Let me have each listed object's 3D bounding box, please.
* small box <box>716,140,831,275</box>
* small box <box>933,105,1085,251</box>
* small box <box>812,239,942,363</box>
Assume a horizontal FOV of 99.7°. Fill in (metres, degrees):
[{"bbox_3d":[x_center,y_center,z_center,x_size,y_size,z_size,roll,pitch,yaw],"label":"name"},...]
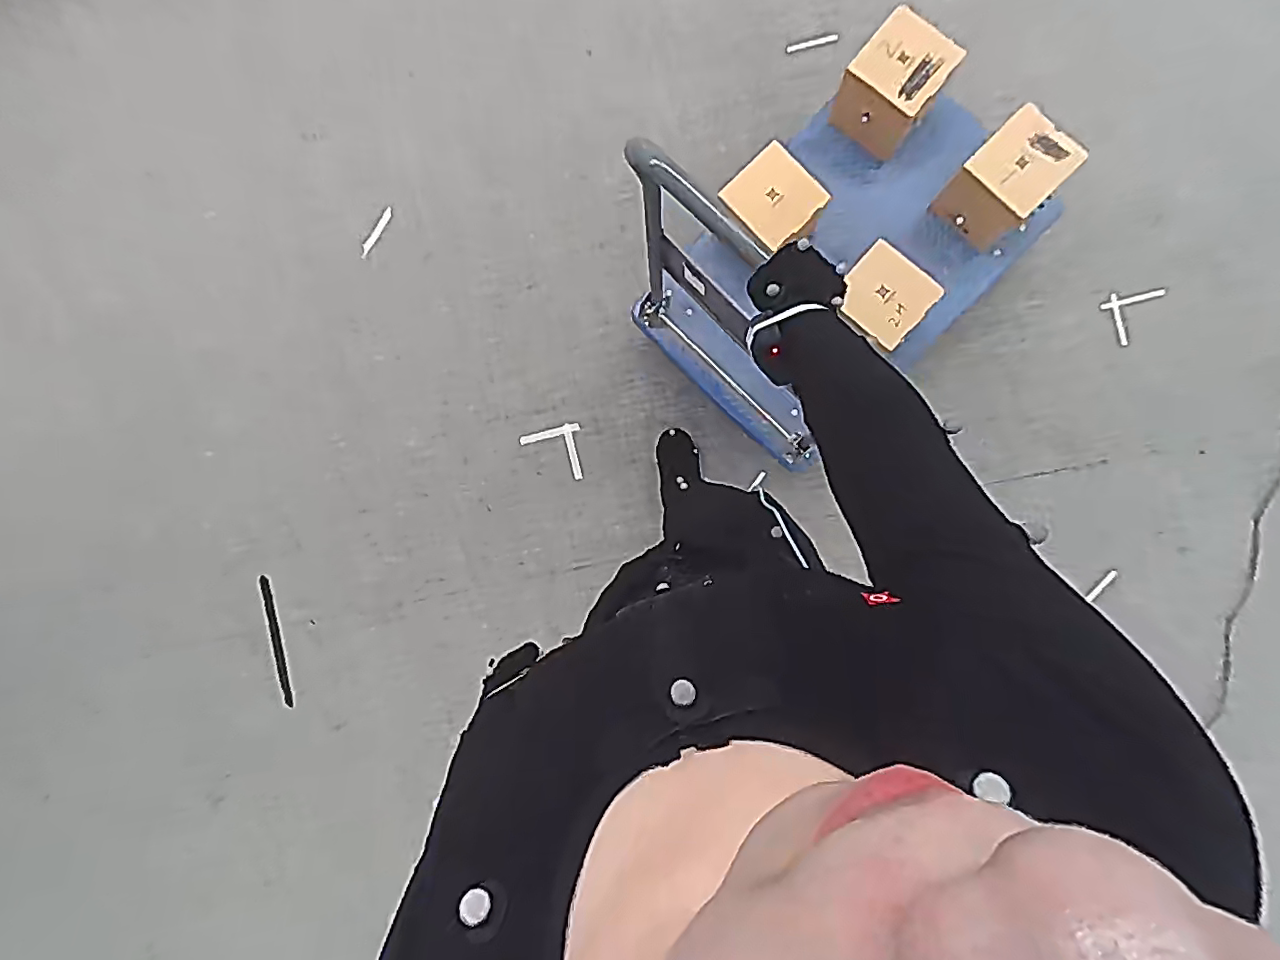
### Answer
[{"bbox_3d":[0.287,-0.598,1.212,0.168,0.176,0.179,-42,88,4],"label":"small box"},{"bbox_3d":[0.779,-0.639,1.164,0.179,0.176,0.168,-44,86,5],"label":"small box"},{"bbox_3d":[0.507,-0.381,1.189,0.179,0.176,0.168,43,94,4],"label":"small box"}]
